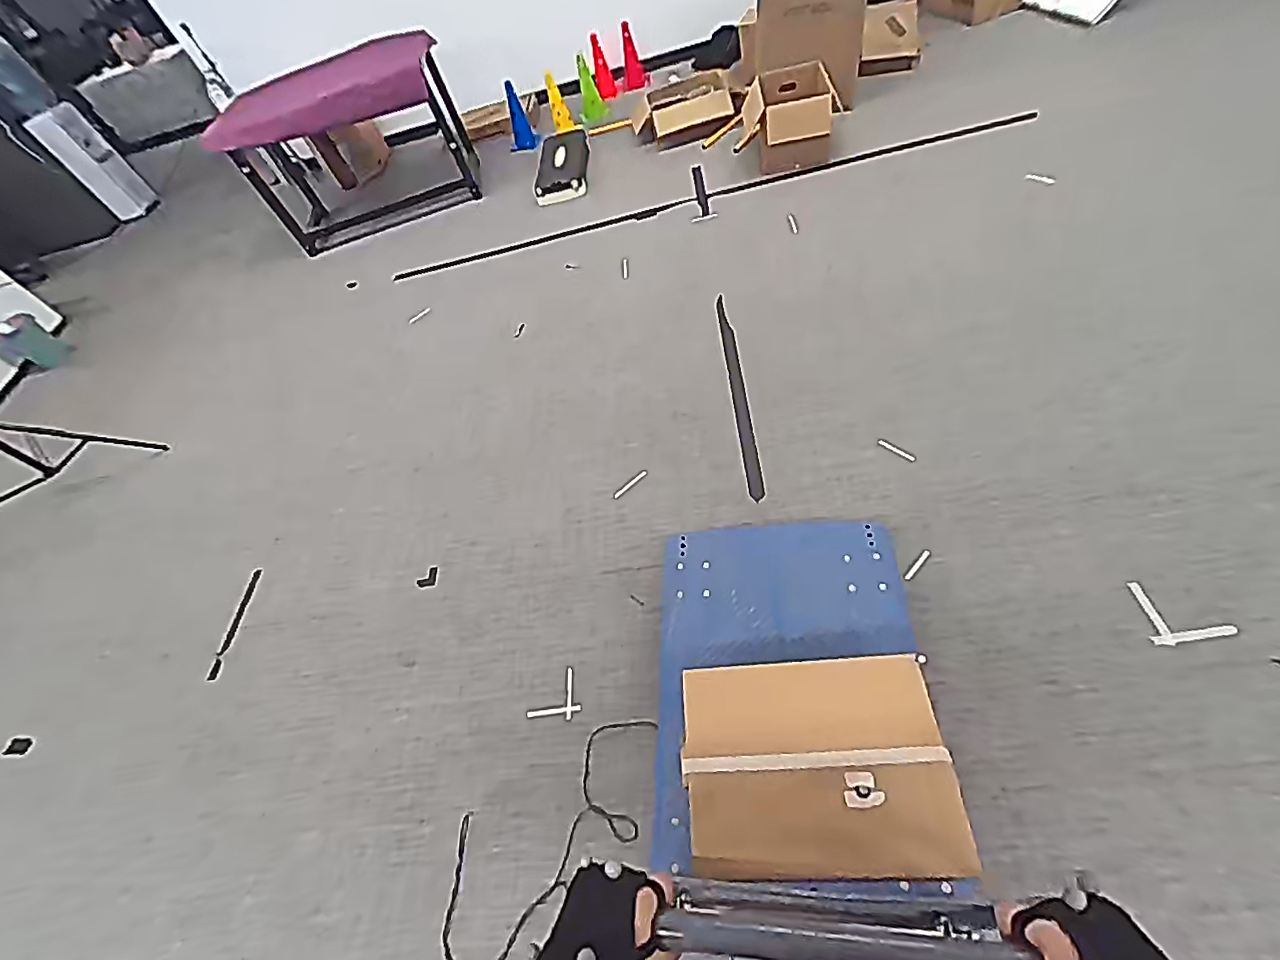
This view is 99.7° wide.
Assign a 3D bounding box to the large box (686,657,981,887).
[{"bbox_3d":[0.309,0.541,0.986,0.408,0.320,0.320,-7,54,9],"label":"large box"}]
